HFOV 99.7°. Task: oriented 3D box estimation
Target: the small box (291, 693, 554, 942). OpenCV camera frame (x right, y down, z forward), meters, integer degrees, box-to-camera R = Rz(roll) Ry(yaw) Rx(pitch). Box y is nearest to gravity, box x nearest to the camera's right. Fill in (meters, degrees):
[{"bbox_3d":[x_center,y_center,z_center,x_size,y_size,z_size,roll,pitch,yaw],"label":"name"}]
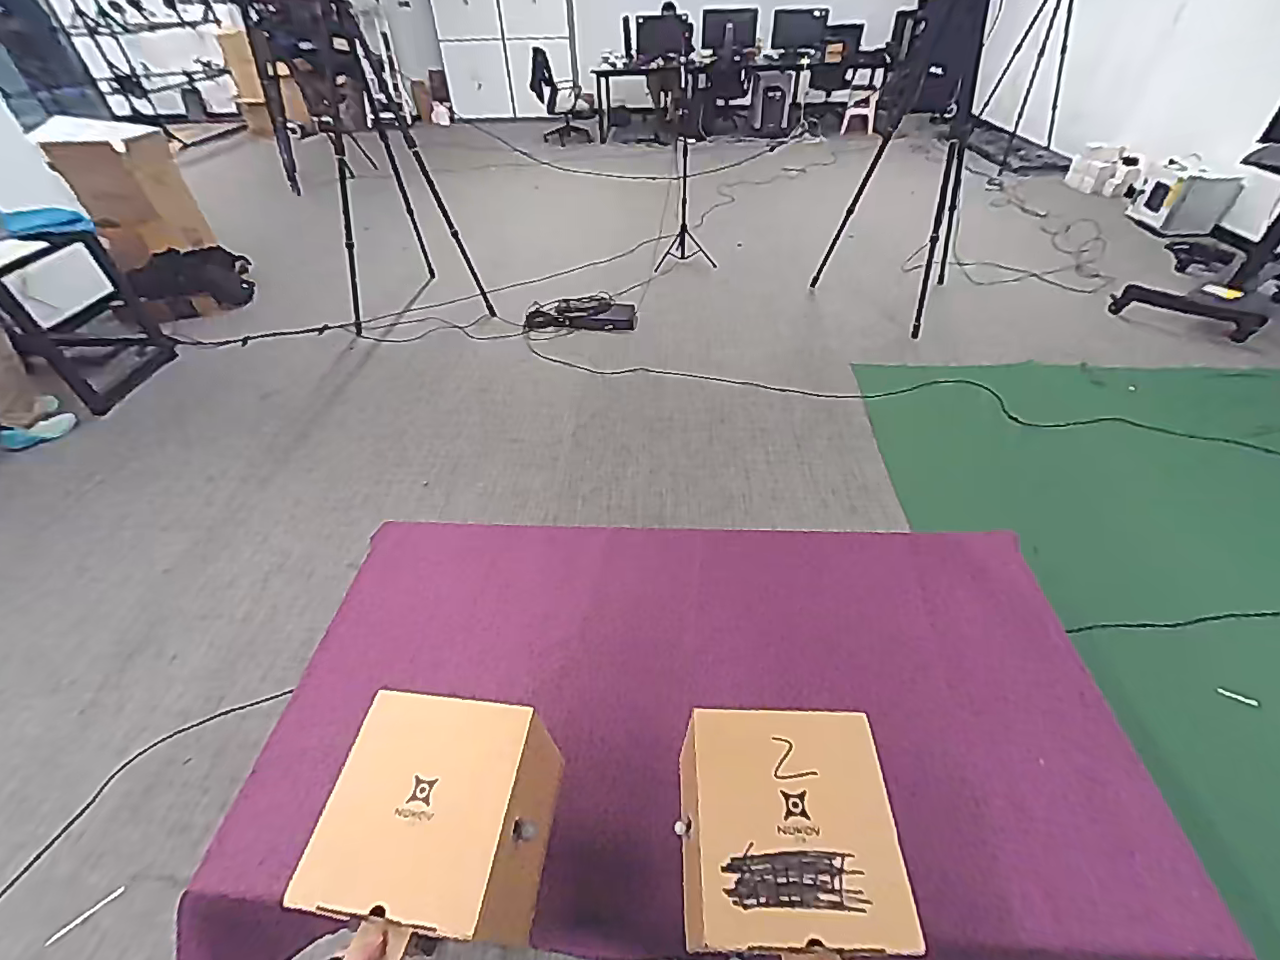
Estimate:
[{"bbox_3d":[-0.193,0.341,0.548,0.168,0.176,0.179,3,49,8],"label":"small box"}]
